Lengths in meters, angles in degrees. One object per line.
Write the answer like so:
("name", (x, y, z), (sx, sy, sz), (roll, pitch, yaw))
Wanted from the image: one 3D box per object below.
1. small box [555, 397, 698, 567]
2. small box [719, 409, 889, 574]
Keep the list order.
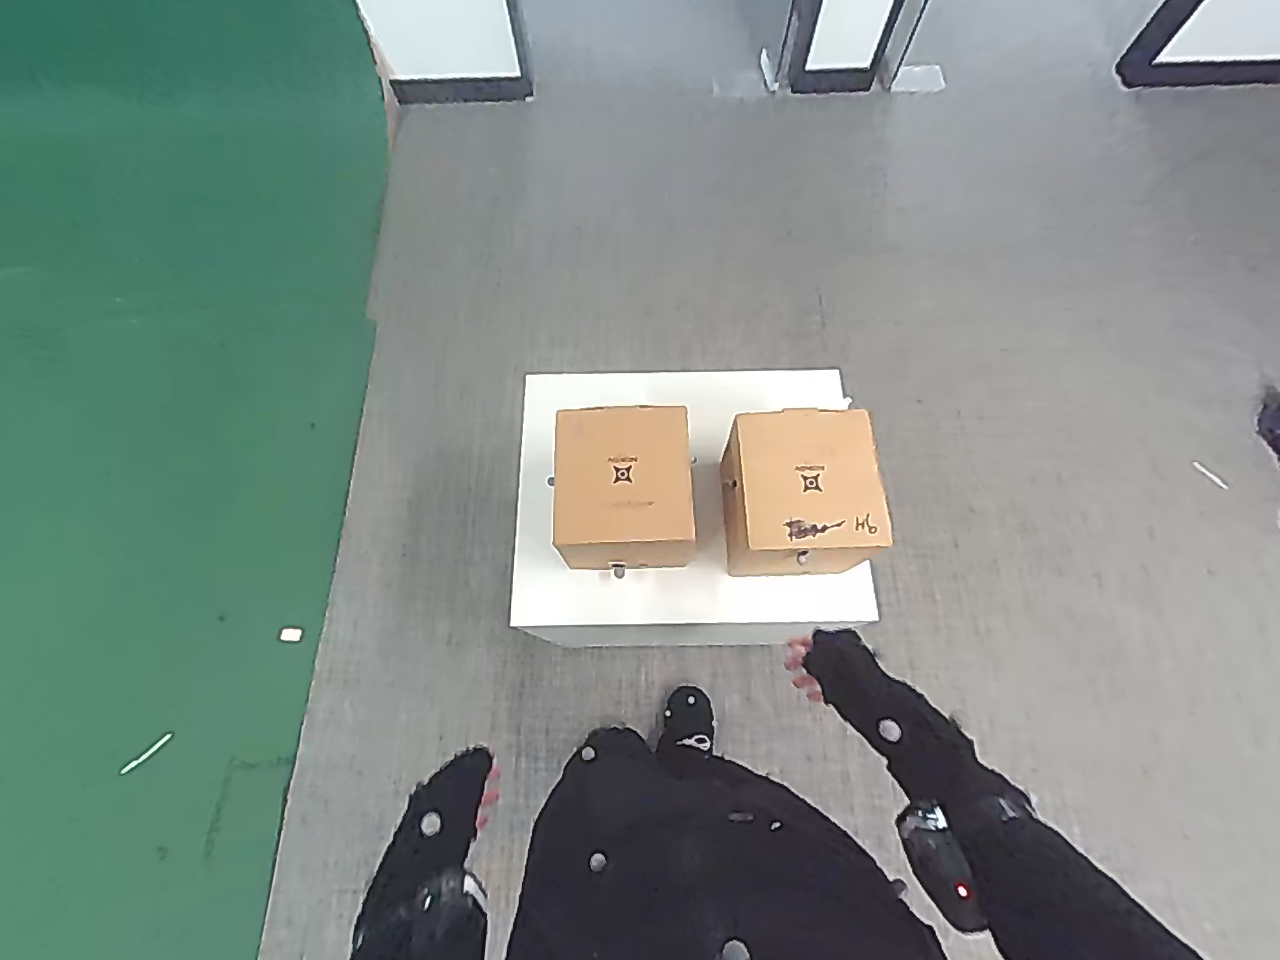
("small box", (-0.019, 0.010, 0.711), (0.168, 0.176, 0.179), (-4, 72, 0))
("small box", (0.201, 0.021, 0.717), (0.168, 0.176, 0.179), (-1, 69, 0))
